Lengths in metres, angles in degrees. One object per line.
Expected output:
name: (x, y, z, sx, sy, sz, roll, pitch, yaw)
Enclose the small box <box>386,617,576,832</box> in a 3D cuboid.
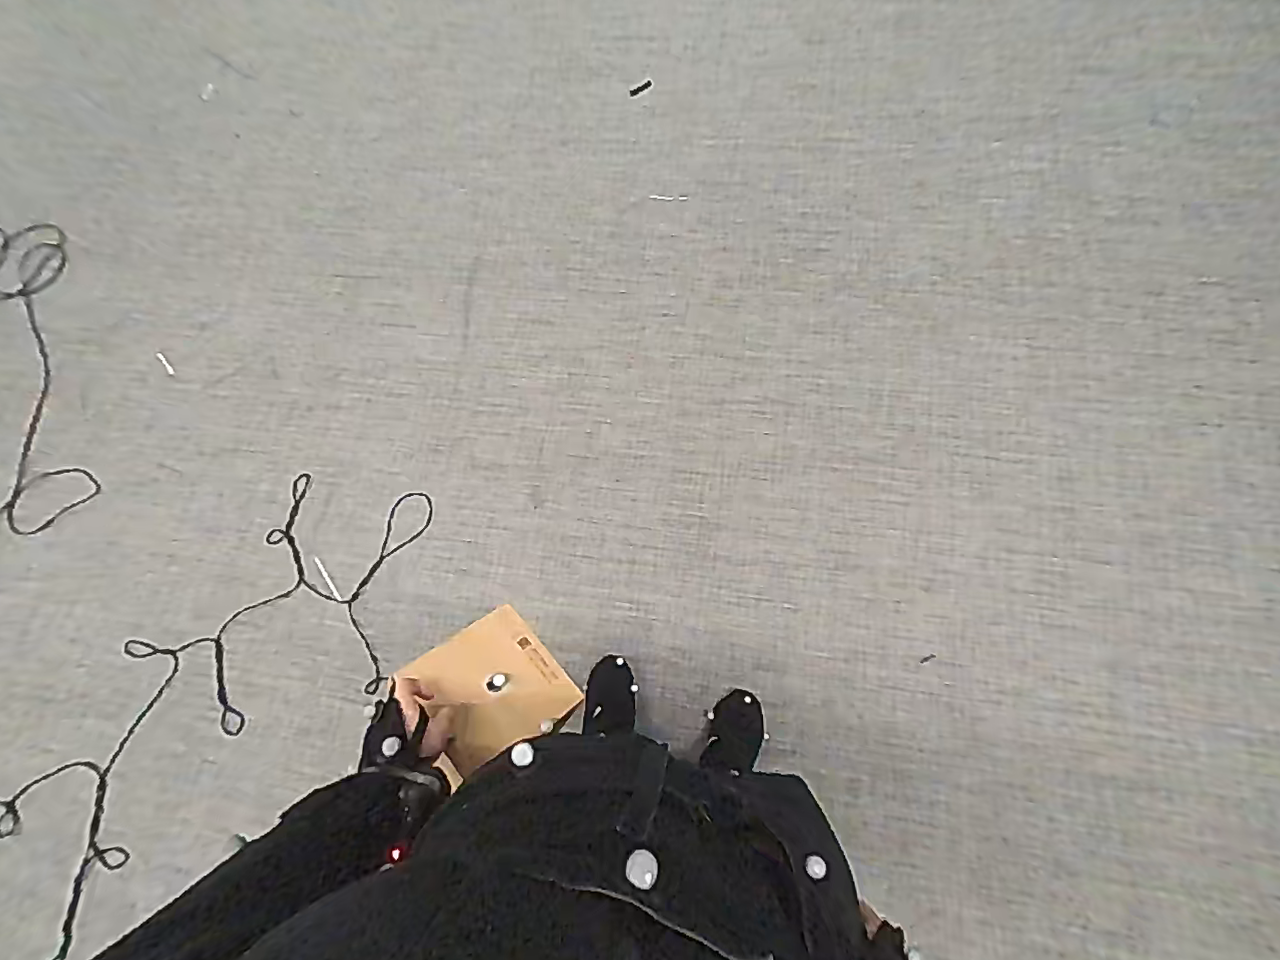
small box: (-0.208, 0.314, 0.713, 0.168, 0.179, 0.176, 43, 46, 16)
